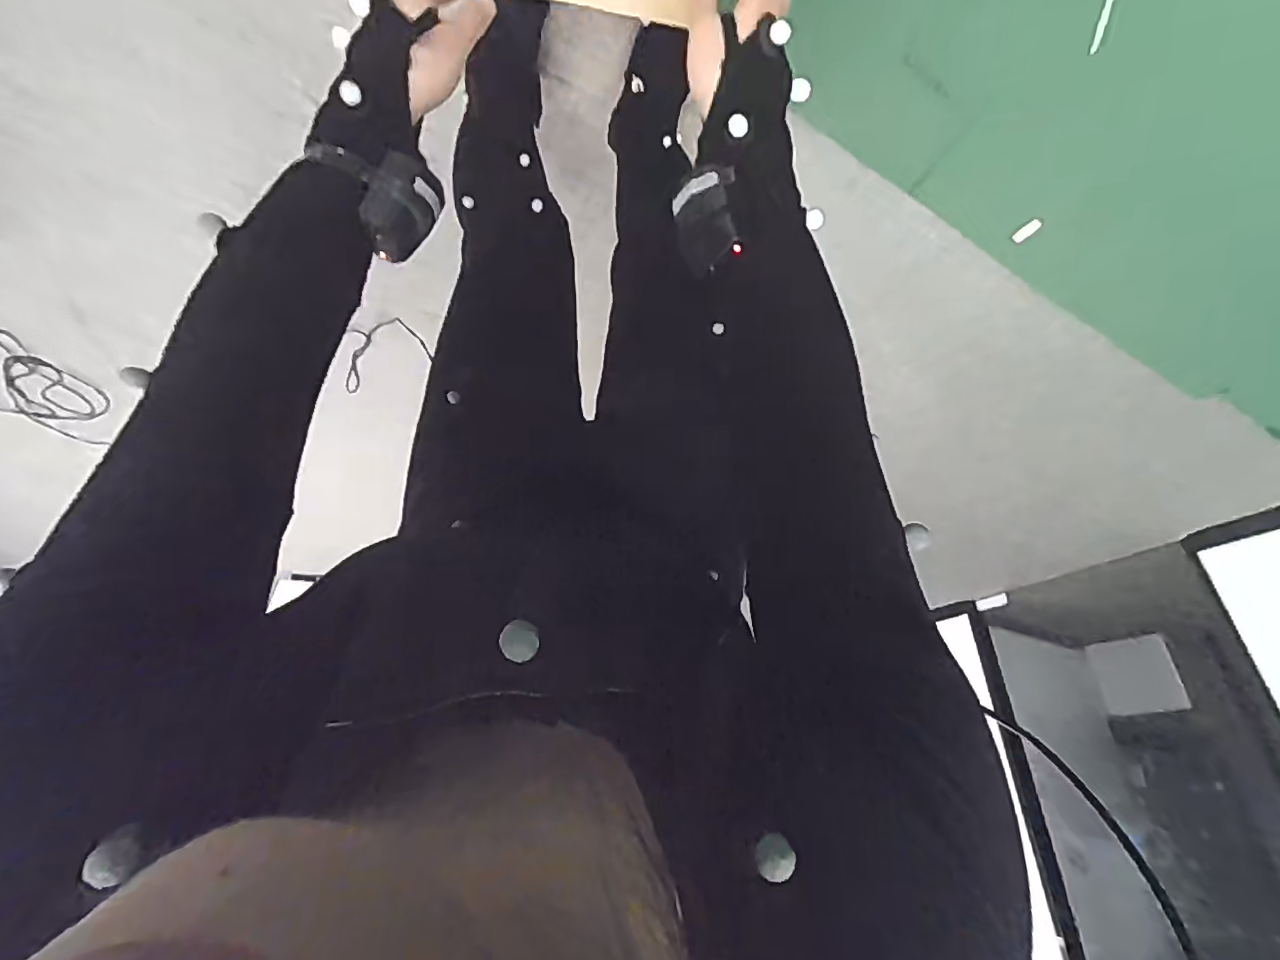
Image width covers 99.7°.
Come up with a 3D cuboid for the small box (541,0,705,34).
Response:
[{"bbox_3d":[-0.012,-0.496,0.413,0.168,0.176,0.179,7,149,-6],"label":"small box"}]
